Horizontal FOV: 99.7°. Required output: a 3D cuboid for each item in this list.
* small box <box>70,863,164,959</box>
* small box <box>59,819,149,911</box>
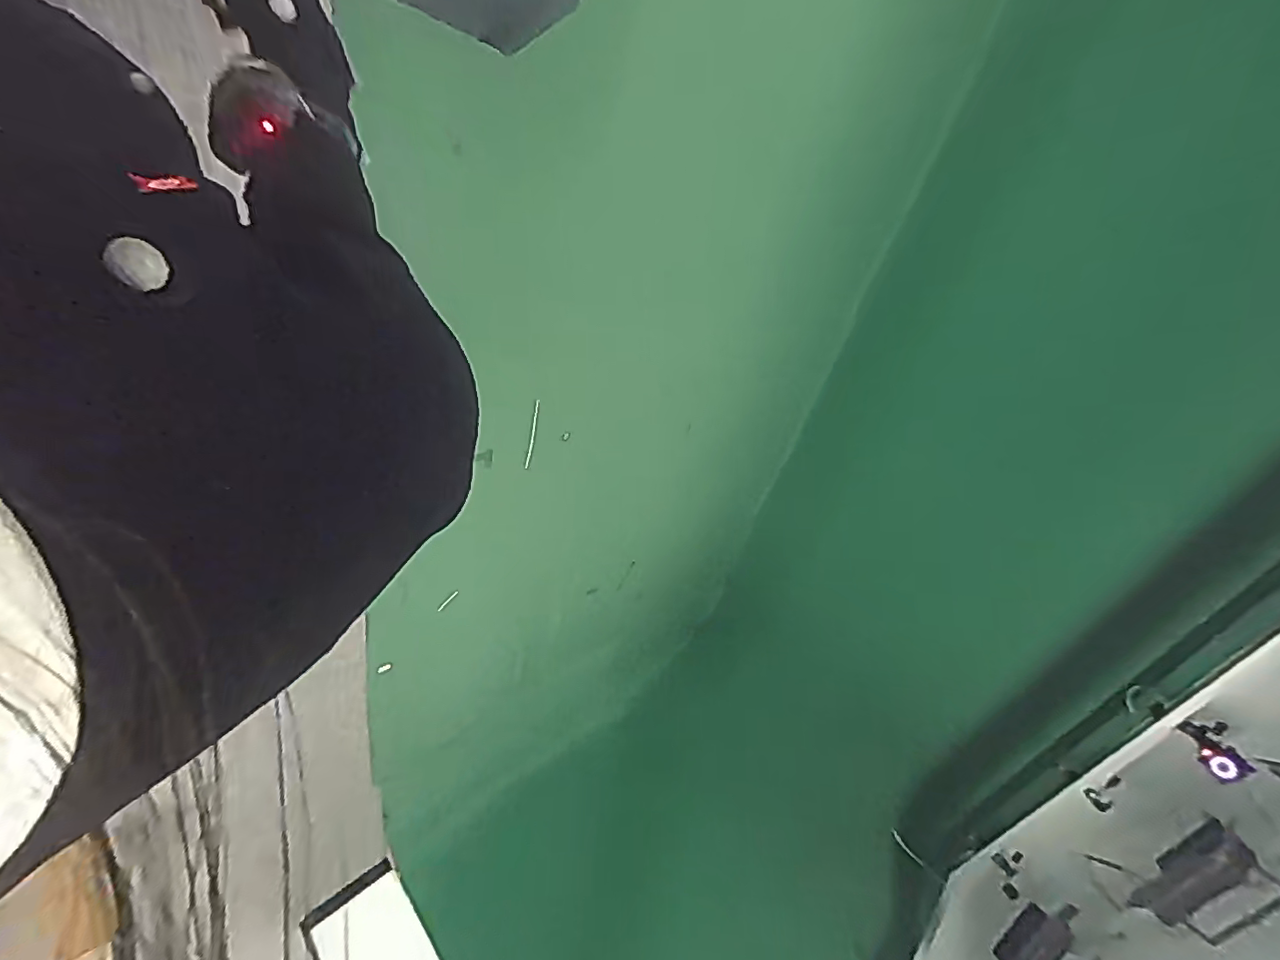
[{"bbox_3d":[-1.602,1.335,1.655,0.179,0.176,0.168,-18,136,-44],"label":"small box"},{"bbox_3d":[-1.715,1.246,1.733,0.179,0.176,0.168,-21,138,-41],"label":"small box"}]
